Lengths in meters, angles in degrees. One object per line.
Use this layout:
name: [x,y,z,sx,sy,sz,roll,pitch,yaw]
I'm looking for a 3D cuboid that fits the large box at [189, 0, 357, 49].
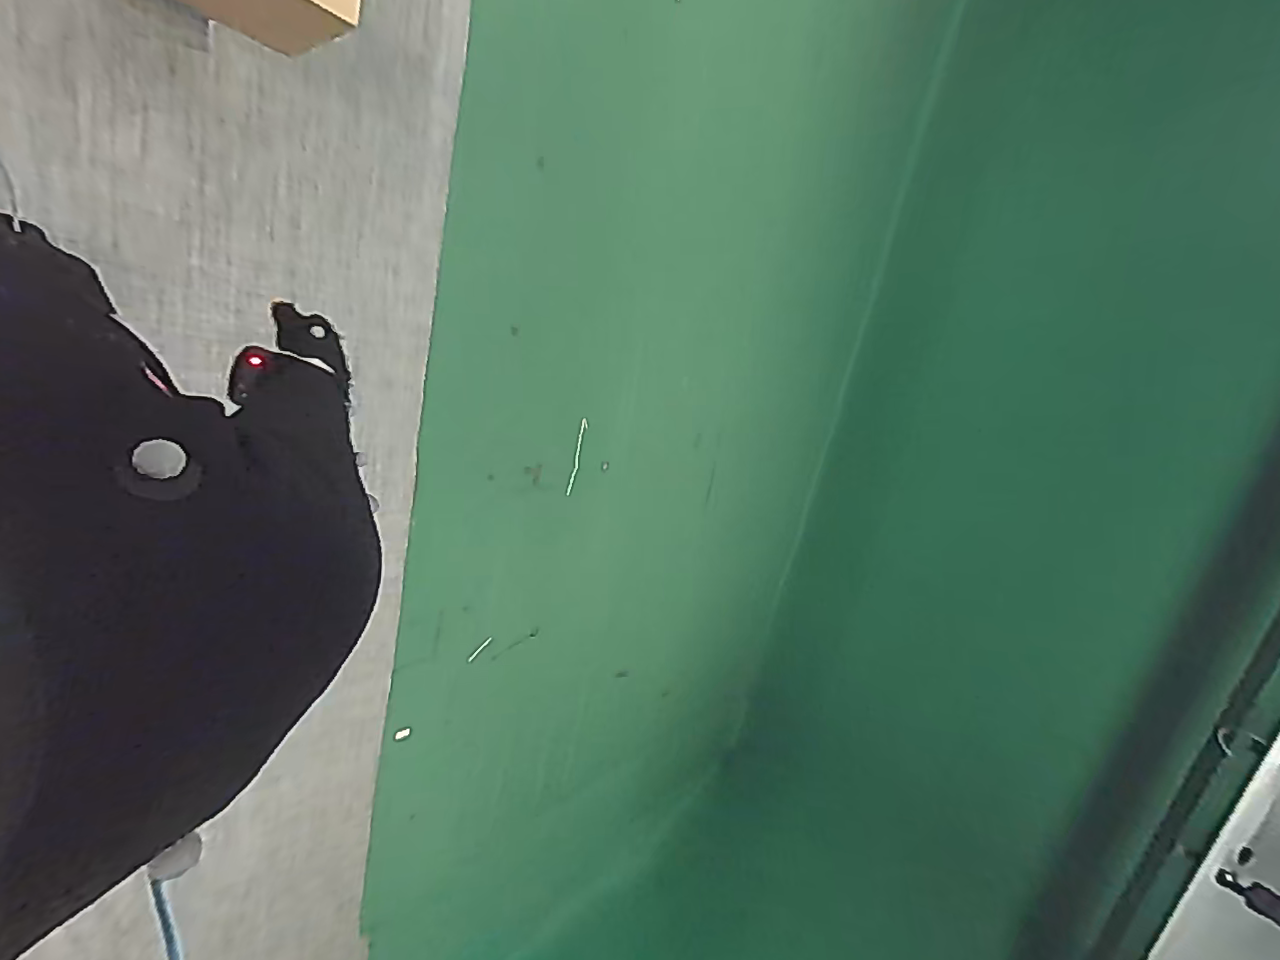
large box: [-0.644,-0.892,0.745,0.408,0.320,0.320,-2,110,-49]
